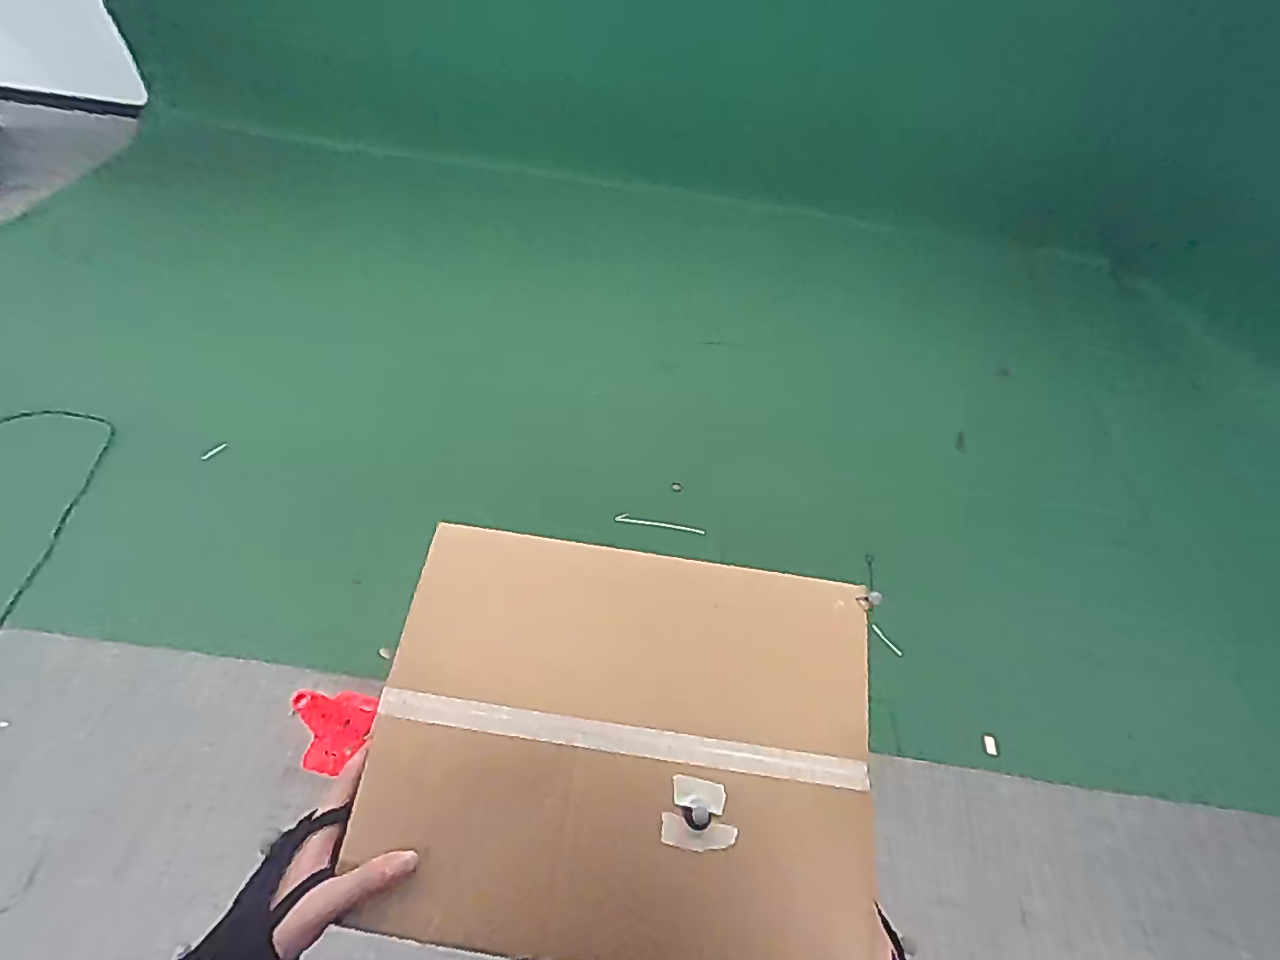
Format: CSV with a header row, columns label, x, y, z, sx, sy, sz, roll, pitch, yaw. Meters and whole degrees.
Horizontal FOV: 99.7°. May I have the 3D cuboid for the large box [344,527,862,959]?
label,x,y,z,sx,sy,sz,roll,pitch,yaw
large box,-0.018,0.266,0.599,0.408,0.320,0.320,8,69,1

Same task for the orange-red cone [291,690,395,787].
label,x,y,z,sx,sy,sz,roll,pitch,yaw
orange-red cone,-0.740,0.575,1.289,0.199,0.360,0.198,13,52,6
